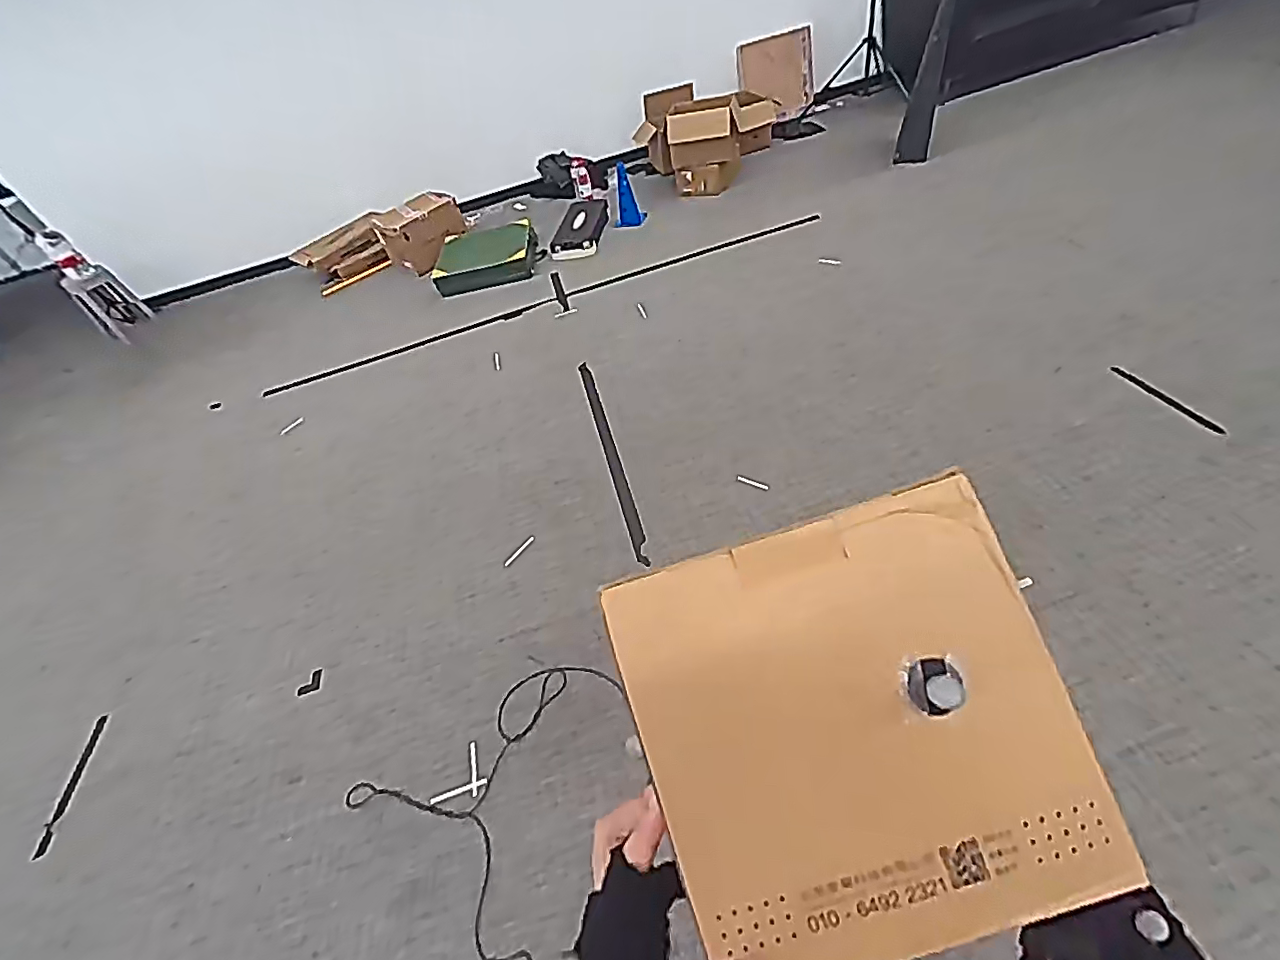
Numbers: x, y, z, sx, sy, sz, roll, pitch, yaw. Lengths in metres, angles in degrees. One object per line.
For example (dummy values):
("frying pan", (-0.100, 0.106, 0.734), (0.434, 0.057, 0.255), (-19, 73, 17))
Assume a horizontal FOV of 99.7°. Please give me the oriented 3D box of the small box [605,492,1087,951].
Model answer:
("small box", (0.094, 0.121, 0.312), (0.168, 0.179, 0.176), (-19, 80, 3))
